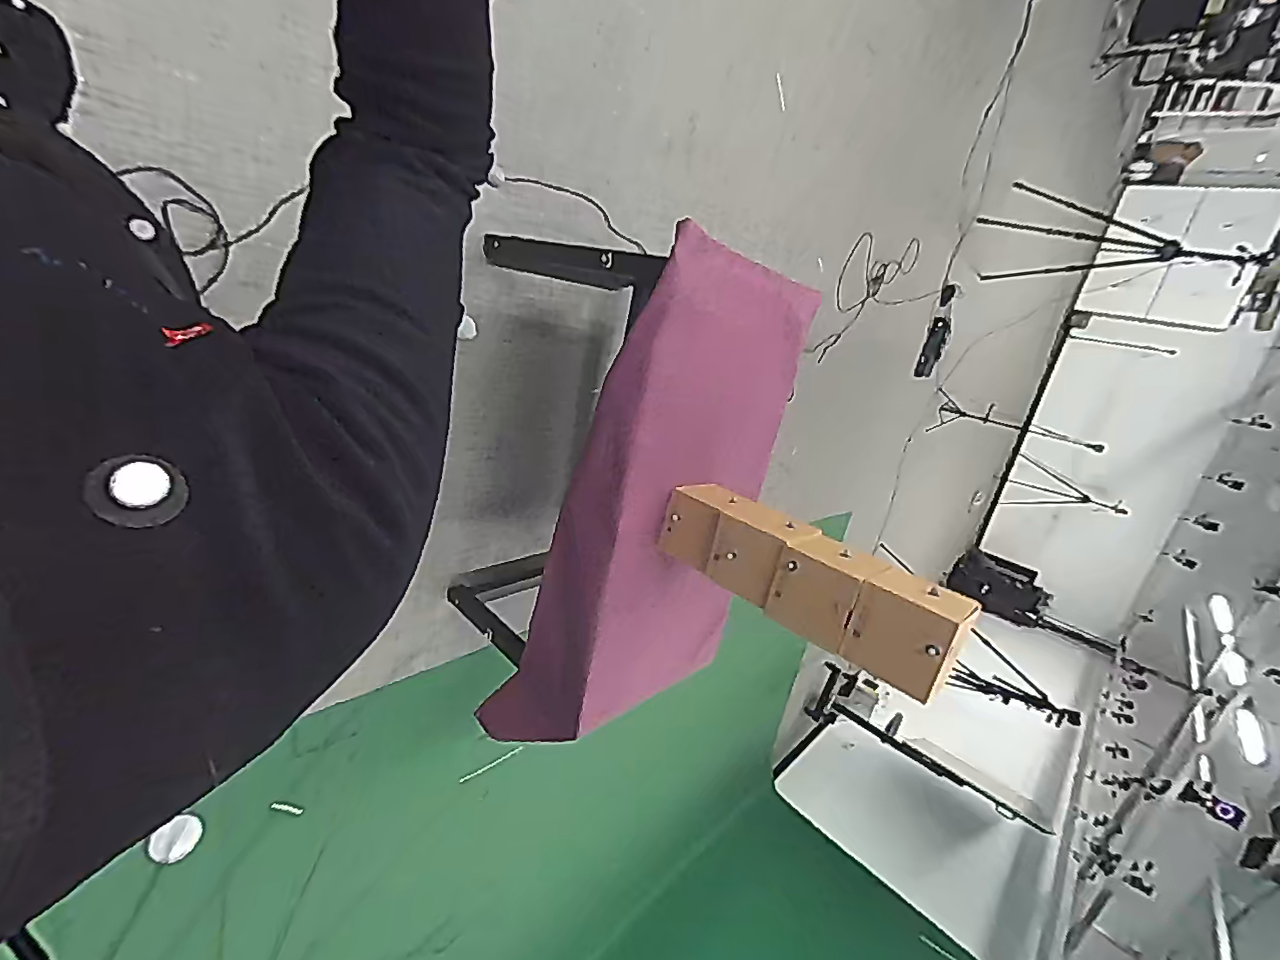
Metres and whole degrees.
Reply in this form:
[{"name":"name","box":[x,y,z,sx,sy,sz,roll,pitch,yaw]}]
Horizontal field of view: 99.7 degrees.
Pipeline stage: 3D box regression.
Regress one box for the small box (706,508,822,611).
[{"name":"small box","box":[0.280,0.171,1.232,0.179,0.176,0.168,-5,112,-47]}]

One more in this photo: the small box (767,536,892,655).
[{"name":"small box","box":[0.389,0.230,1.124,0.179,0.176,0.168,-4,112,-48]}]

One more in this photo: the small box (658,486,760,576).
[{"name":"small box","box":[0.175,0.119,1.347,0.179,0.176,0.168,-2,111,-47]}]

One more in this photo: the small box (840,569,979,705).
[{"name":"small box","box":[0.509,0.283,1.026,0.179,0.176,0.168,-2,111,-49]}]
